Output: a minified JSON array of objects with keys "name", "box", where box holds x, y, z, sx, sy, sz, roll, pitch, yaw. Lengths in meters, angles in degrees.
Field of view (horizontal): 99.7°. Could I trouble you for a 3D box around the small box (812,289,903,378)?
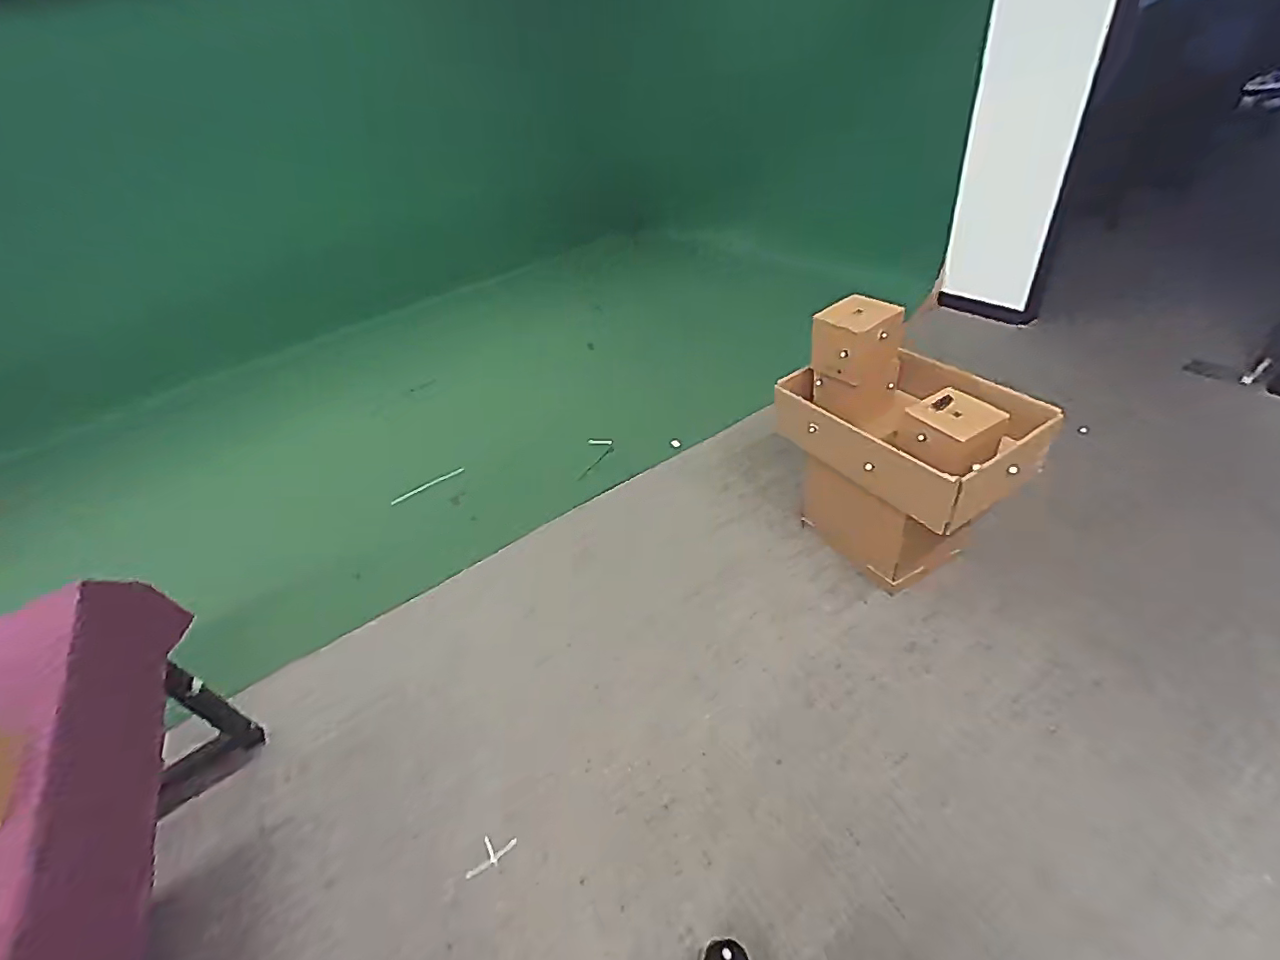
[{"name":"small box","box":[0.604,-0.410,1.519,0.179,0.176,0.168,-31,44,-20]}]
